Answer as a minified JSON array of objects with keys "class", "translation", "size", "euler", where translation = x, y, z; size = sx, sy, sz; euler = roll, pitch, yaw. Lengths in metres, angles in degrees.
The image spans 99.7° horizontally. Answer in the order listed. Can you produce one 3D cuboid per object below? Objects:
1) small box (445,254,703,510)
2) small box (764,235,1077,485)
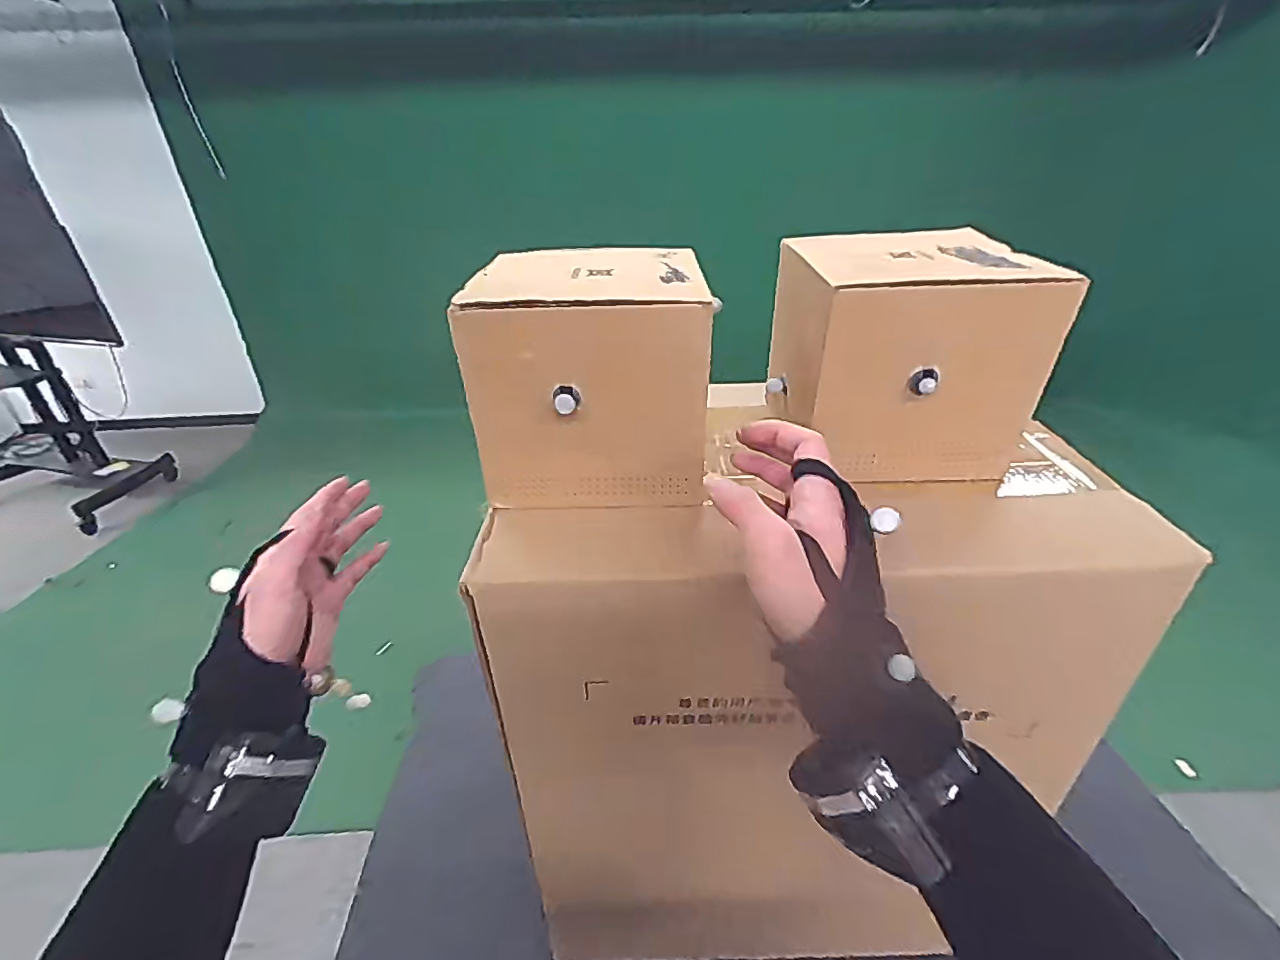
[{"class":"small box","translation":[-0.040,-0.086,0.464],"size":[0.179,0.176,0.168],"euler":[-2,34,1]},{"class":"small box","translation":[0.217,-0.108,0.479],"size":[0.179,0.176,0.168],"euler":[-2,34,2]}]
